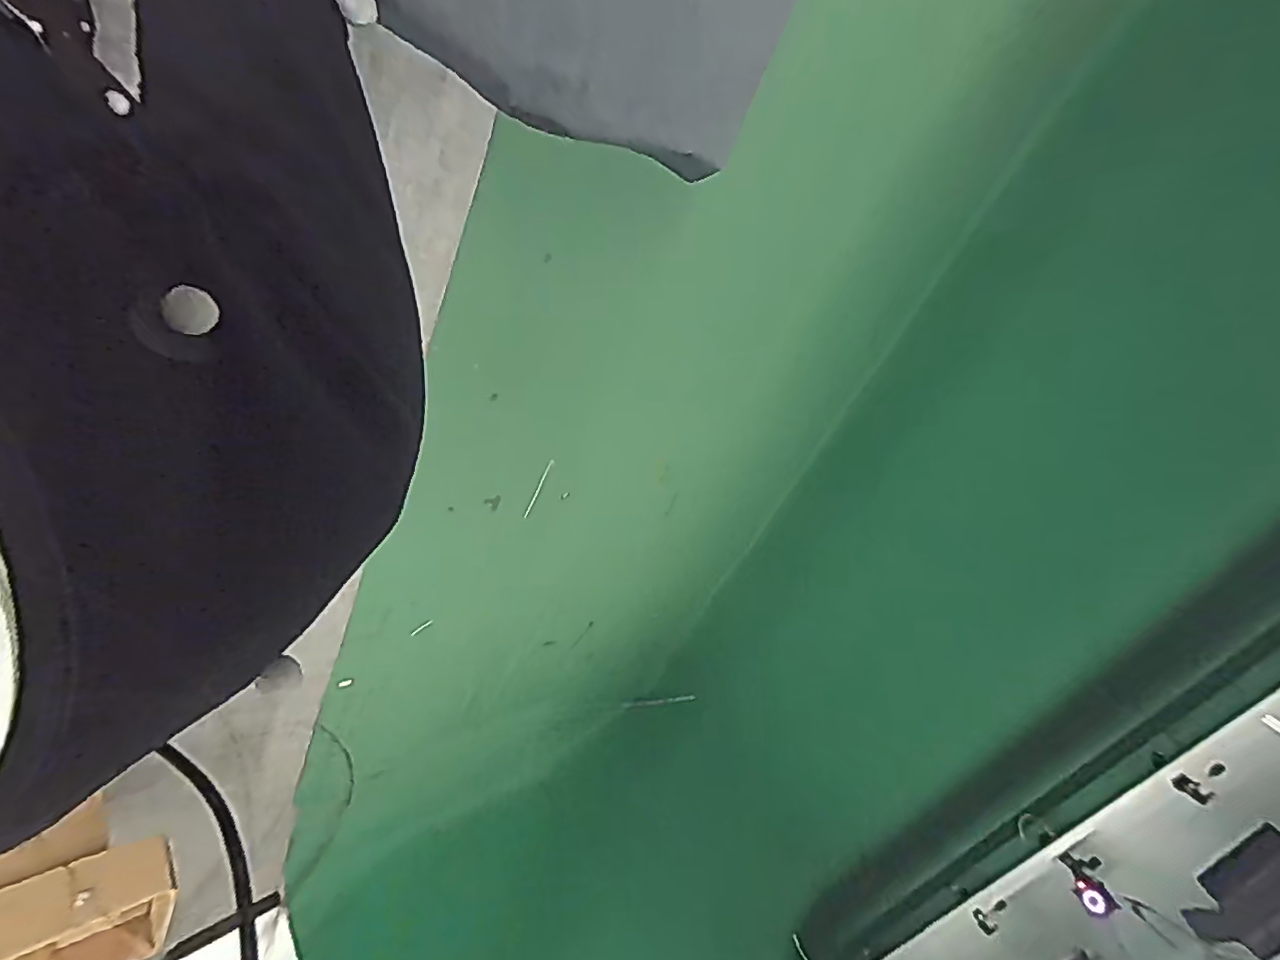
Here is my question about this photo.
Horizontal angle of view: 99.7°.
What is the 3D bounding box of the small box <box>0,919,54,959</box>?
[{"bbox_3d":[-1.619,1.277,1.378,0.168,0.176,0.179,-2,130,-48],"label":"small box"}]
